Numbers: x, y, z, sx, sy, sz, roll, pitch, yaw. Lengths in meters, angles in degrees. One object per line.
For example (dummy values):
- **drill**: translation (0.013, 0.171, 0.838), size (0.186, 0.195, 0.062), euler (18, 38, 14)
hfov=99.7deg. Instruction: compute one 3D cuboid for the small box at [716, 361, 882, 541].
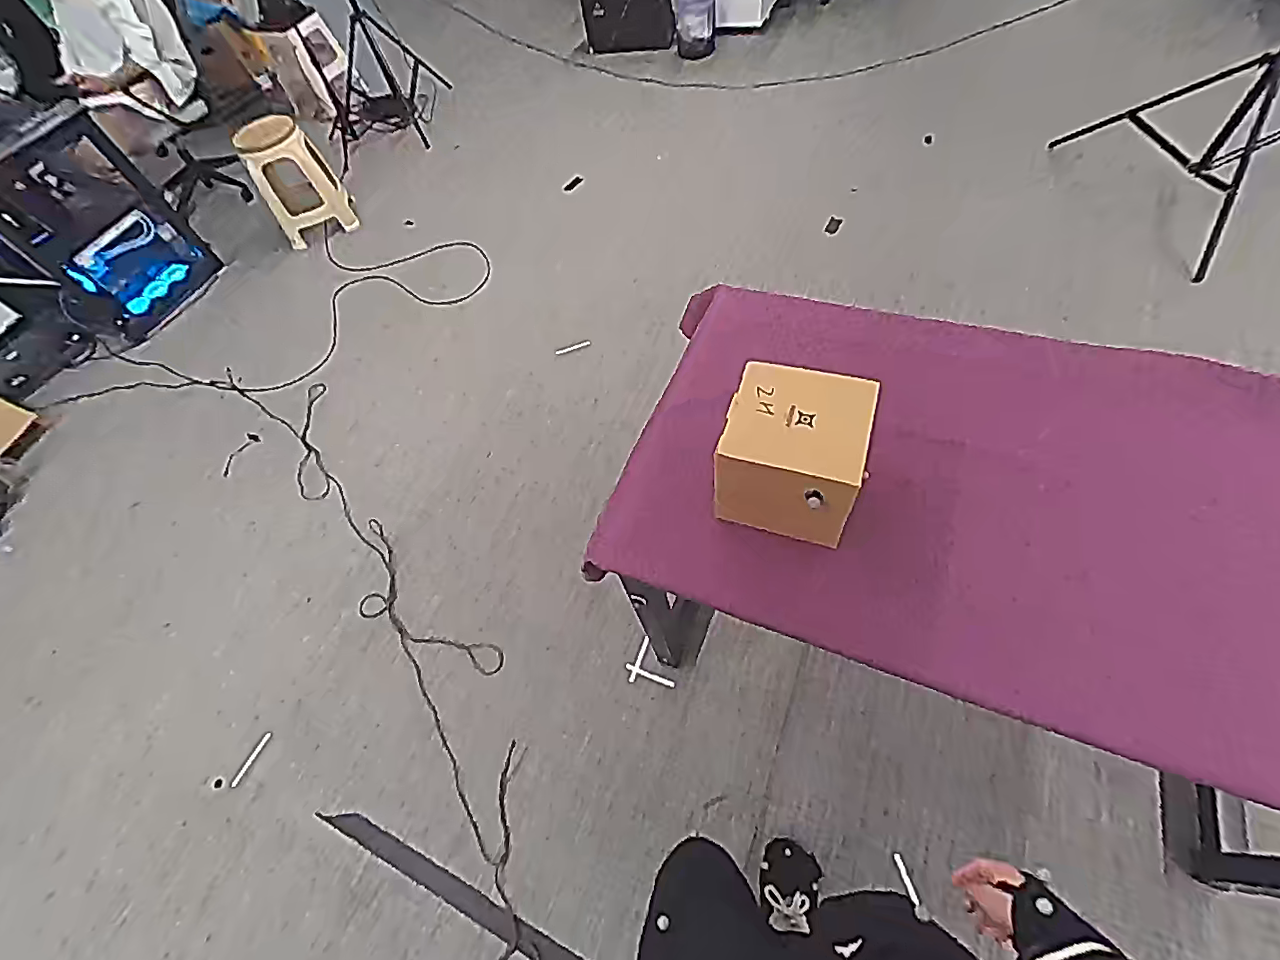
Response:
- **small box**: translation (0.212, -0.035, 0.745), size (0.179, 0.176, 0.168), euler (14, 60, 17)
